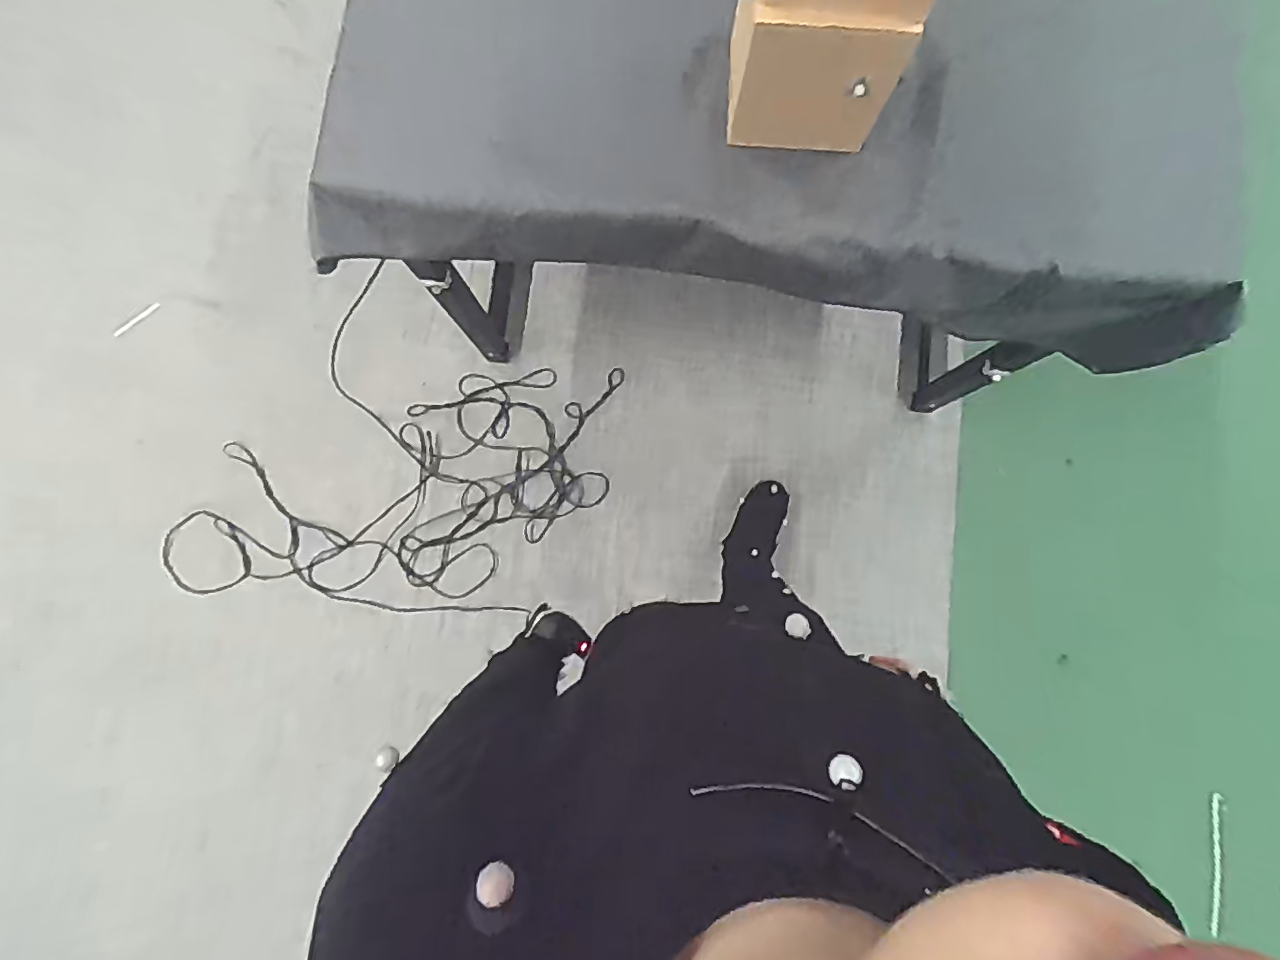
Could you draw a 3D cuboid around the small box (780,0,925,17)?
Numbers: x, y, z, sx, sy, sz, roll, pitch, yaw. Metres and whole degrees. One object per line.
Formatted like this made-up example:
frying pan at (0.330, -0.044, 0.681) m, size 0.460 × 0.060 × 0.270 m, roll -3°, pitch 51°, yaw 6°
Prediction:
small box at (0.211, -0.567, 0.484) m, size 0.179 × 0.176 × 0.168 m, roll 7°, pitch 82°, yaw 0°
